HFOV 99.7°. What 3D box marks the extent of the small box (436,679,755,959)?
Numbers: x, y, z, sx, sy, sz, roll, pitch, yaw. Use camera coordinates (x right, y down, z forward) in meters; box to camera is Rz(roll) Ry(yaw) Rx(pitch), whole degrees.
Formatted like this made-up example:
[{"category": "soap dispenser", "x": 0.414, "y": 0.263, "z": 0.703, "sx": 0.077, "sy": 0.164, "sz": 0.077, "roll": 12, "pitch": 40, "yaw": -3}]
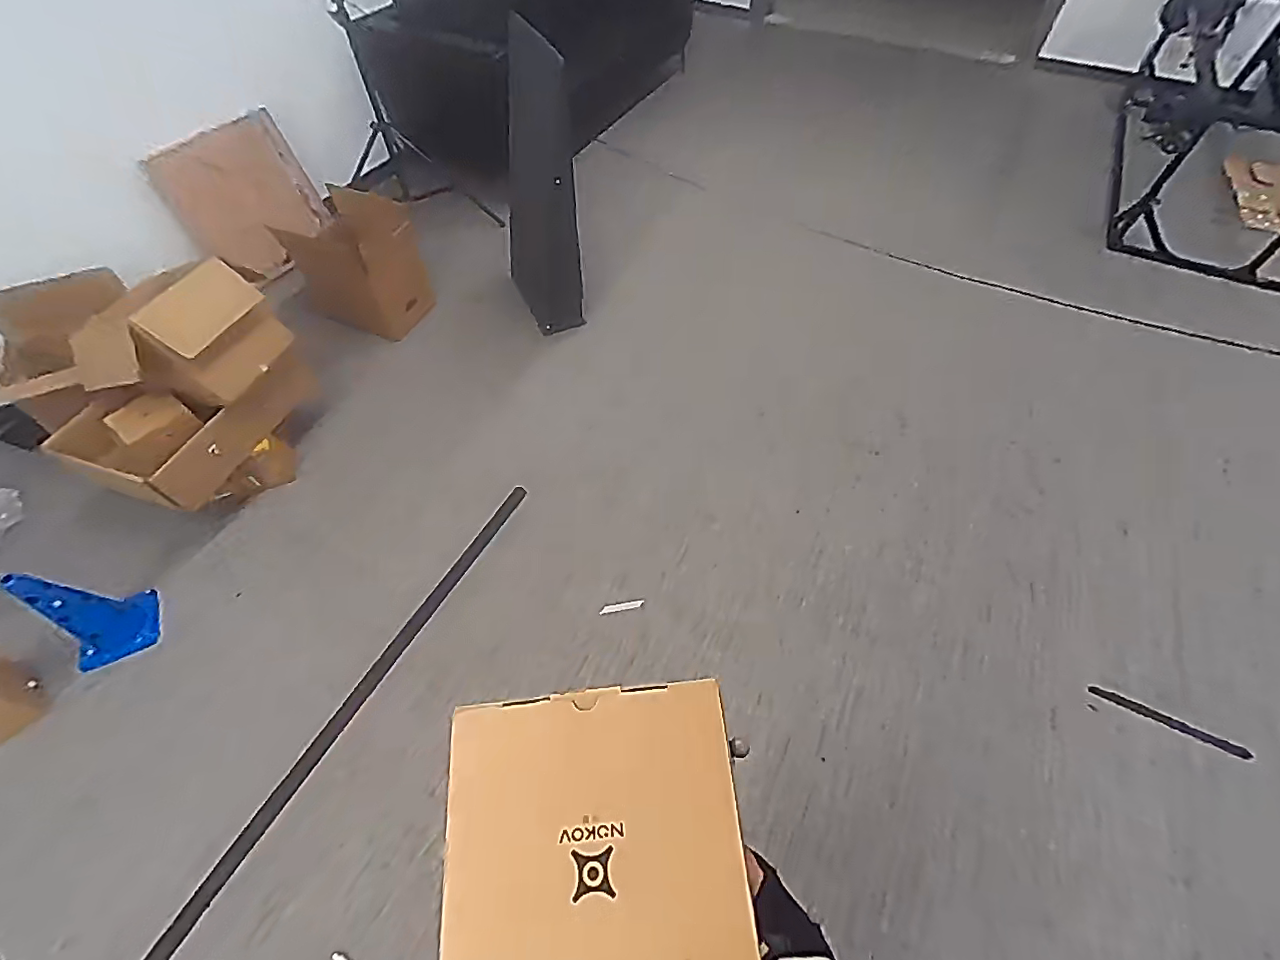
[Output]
[{"category": "small box", "x": -0.021, "y": 0.243, "z": 0.362, "sx": 0.168, "sy": 0.176, "sz": 0.179, "roll": -6, "pitch": 61, "yaw": 0}]
